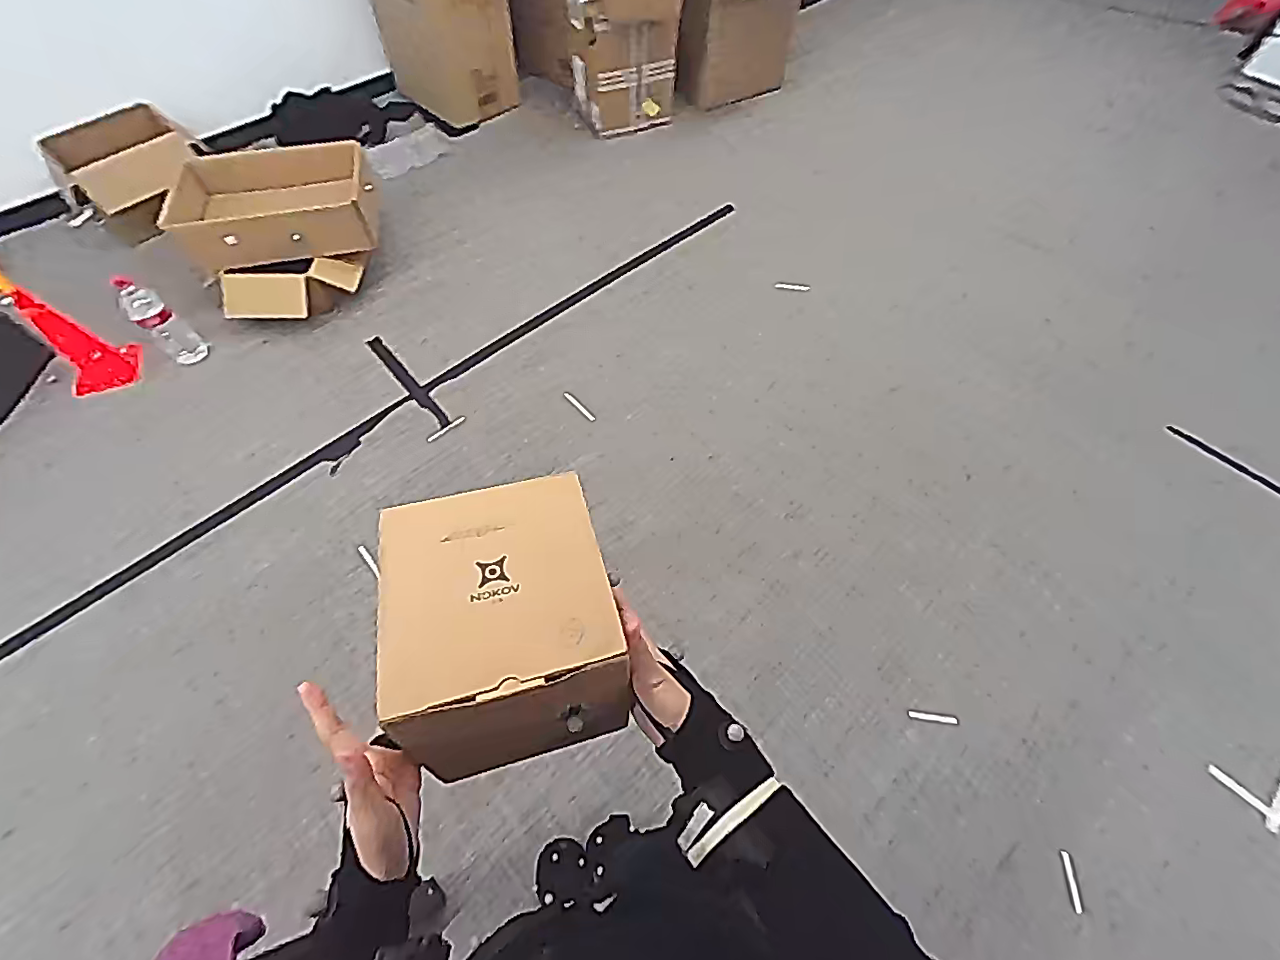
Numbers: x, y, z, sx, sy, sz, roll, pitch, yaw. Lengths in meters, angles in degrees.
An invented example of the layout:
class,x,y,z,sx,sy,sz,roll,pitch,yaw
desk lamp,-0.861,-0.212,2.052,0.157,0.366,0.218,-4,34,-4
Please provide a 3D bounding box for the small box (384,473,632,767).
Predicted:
class,x,y,z,sx,sy,sz,roll,pitch,yaw
small box,-0.106,0.125,0.465,0.168,0.176,0.179,-11,50,-12
